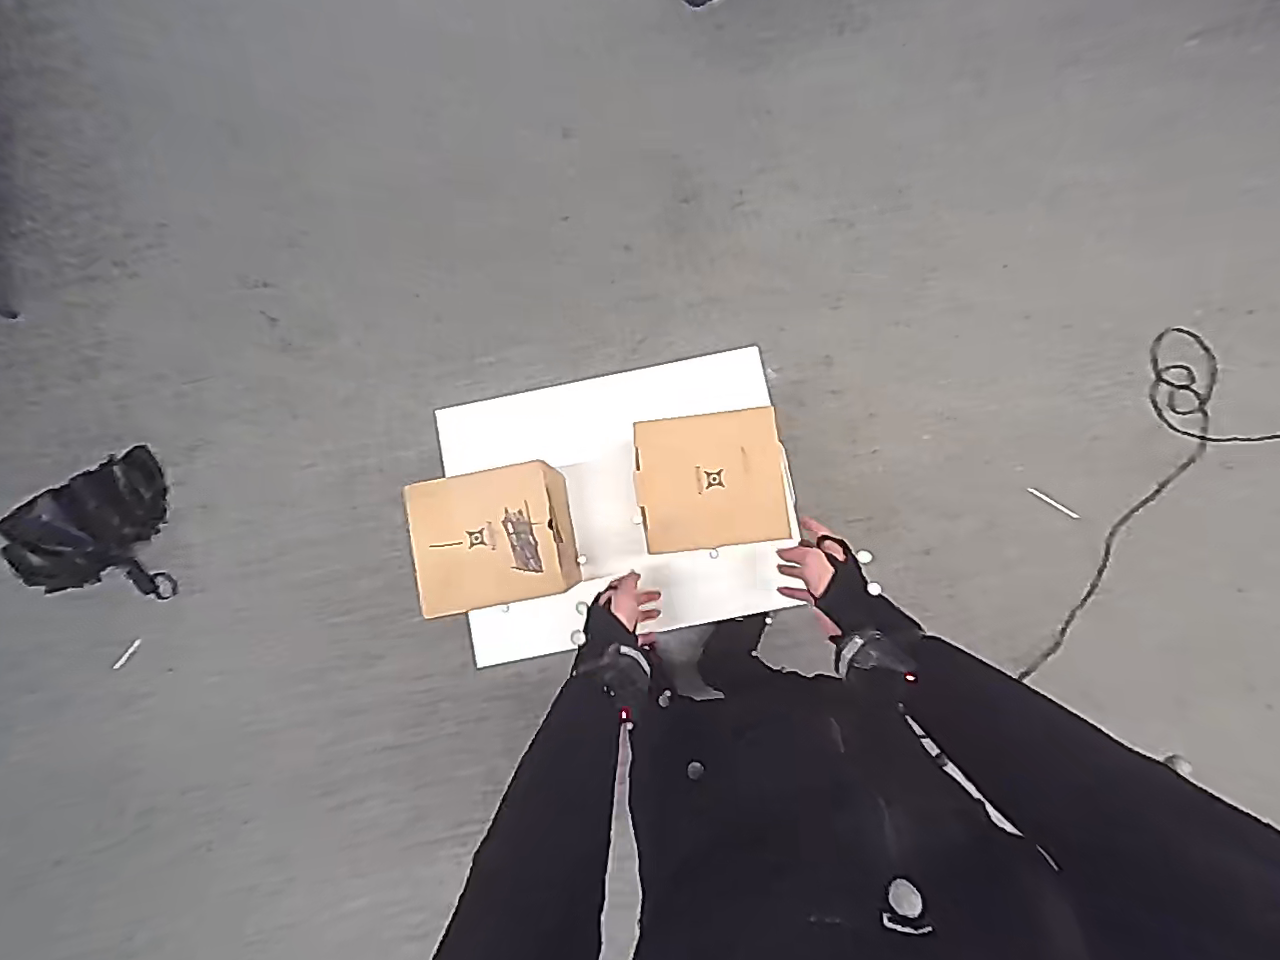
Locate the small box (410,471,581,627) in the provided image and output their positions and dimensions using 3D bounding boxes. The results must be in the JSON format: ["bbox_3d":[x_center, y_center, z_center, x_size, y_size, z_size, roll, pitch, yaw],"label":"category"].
[{"bbox_3d":[-0.181,0.090,0.732,0.179,0.176,0.168,-11,83,1],"label":"small box"}]

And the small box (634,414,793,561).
[{"bbox_3d":[0.091,0.017,0.733,0.179,0.176,0.168,-7,85,1],"label":"small box"}]
